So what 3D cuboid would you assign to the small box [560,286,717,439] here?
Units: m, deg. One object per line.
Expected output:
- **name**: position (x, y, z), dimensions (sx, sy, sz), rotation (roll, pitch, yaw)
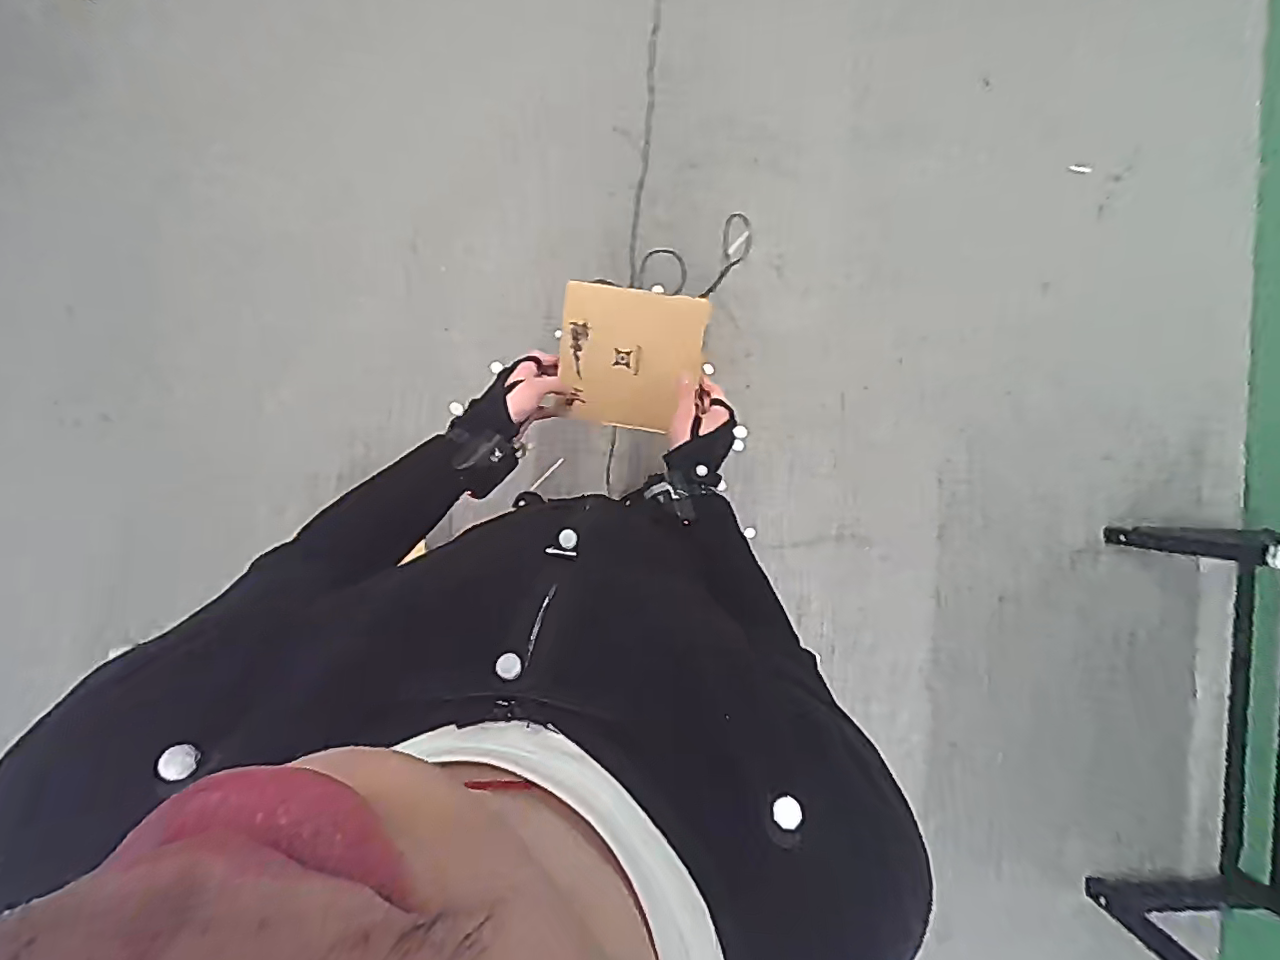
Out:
- **small box**: position (0.002, -0.160, 0.736), dimensions (0.179, 0.176, 0.168), rotation (9, 103, 4)
